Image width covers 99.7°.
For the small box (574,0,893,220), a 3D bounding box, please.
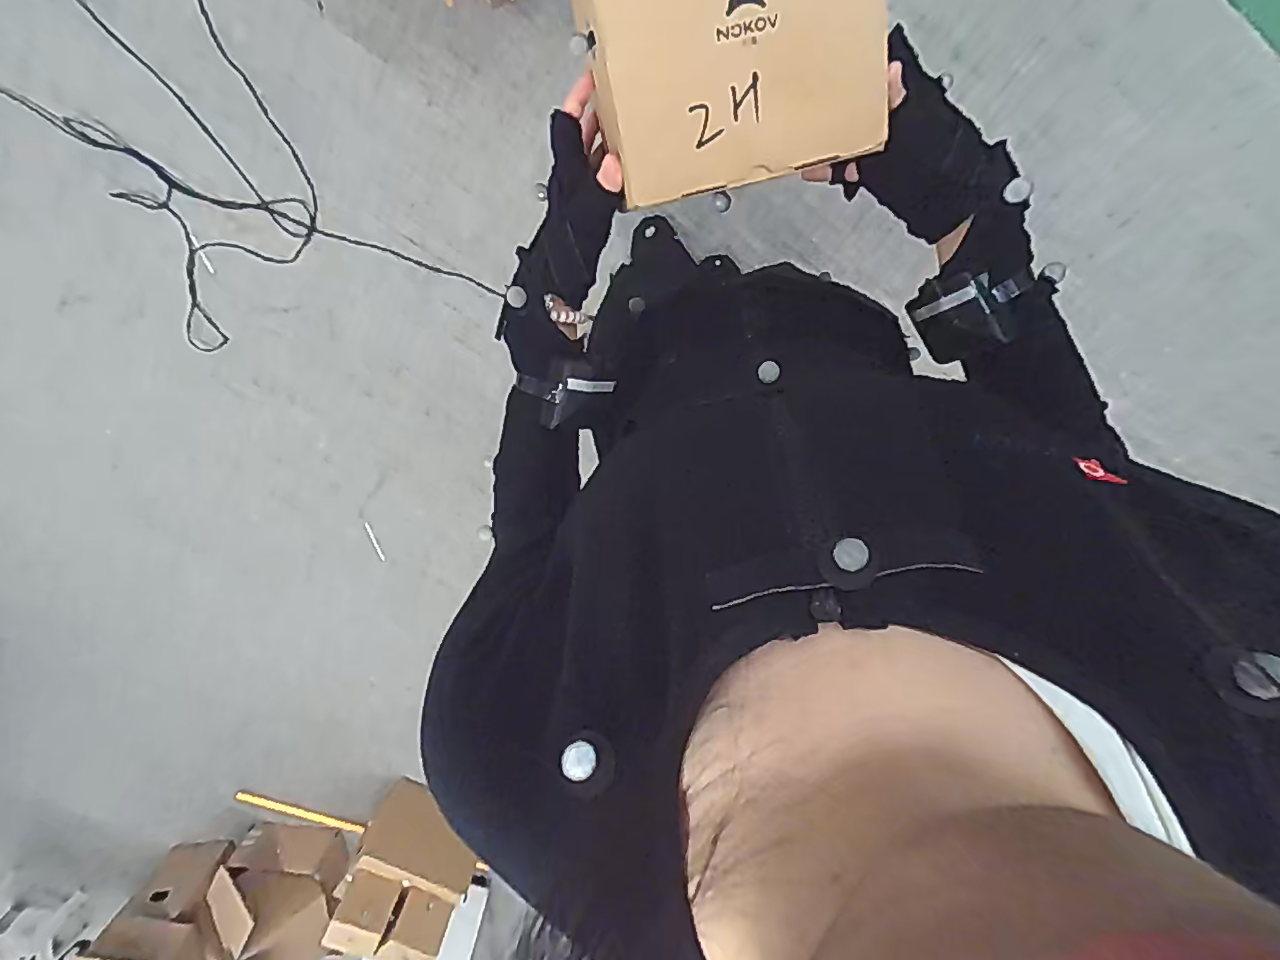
[{"bbox_3d":[0.051,-0.289,0.370,0.168,0.176,0.179,-13,116,1],"label":"small box"}]
